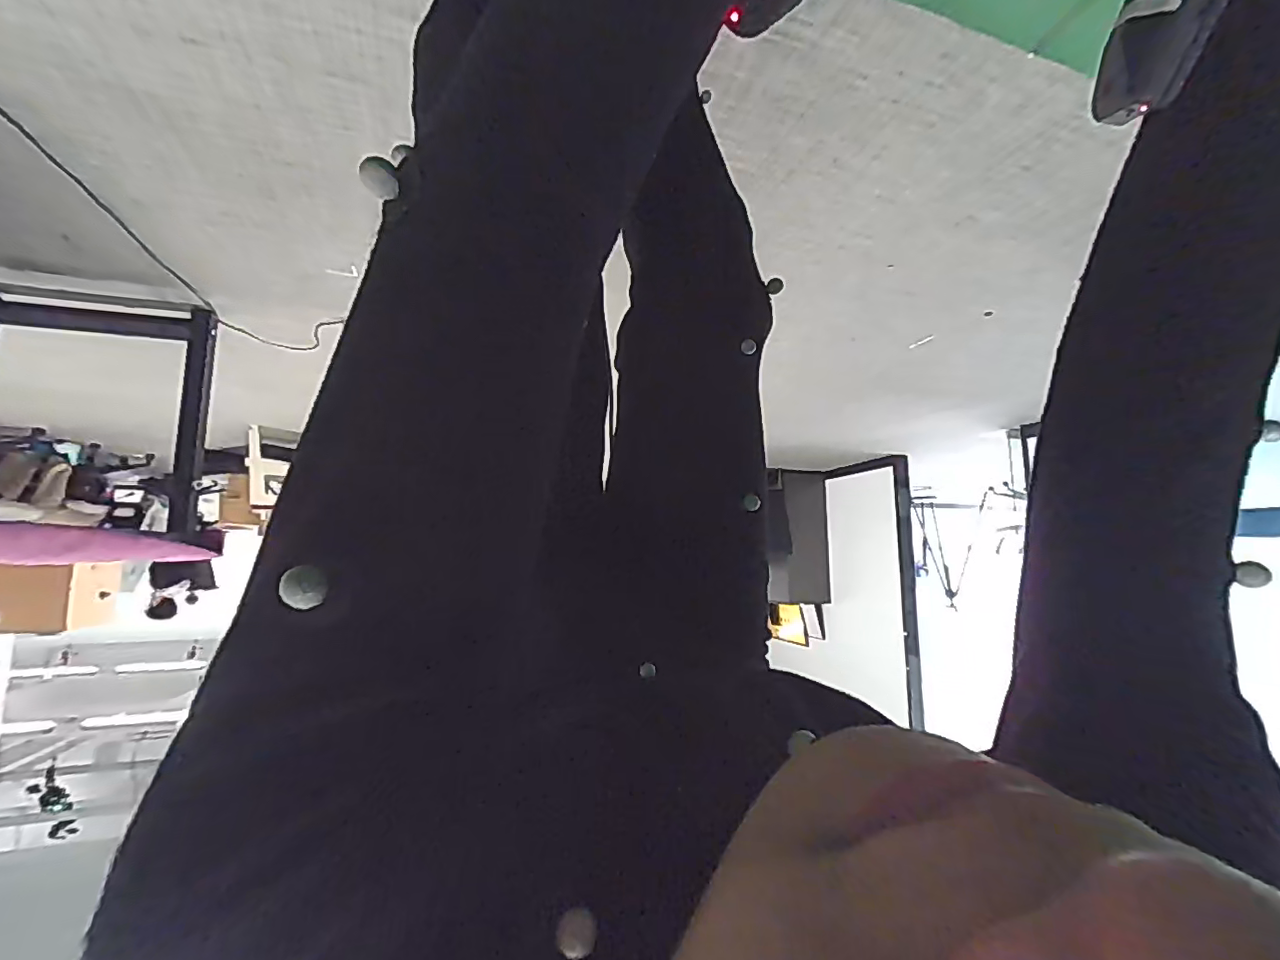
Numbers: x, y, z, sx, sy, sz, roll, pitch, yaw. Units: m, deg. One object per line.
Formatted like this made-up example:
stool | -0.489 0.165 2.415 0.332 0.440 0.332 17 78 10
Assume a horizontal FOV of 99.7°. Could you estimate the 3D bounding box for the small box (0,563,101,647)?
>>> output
small box | -1.378 0.277 1.224 0.179 0.176 0.168 3 171 -16
